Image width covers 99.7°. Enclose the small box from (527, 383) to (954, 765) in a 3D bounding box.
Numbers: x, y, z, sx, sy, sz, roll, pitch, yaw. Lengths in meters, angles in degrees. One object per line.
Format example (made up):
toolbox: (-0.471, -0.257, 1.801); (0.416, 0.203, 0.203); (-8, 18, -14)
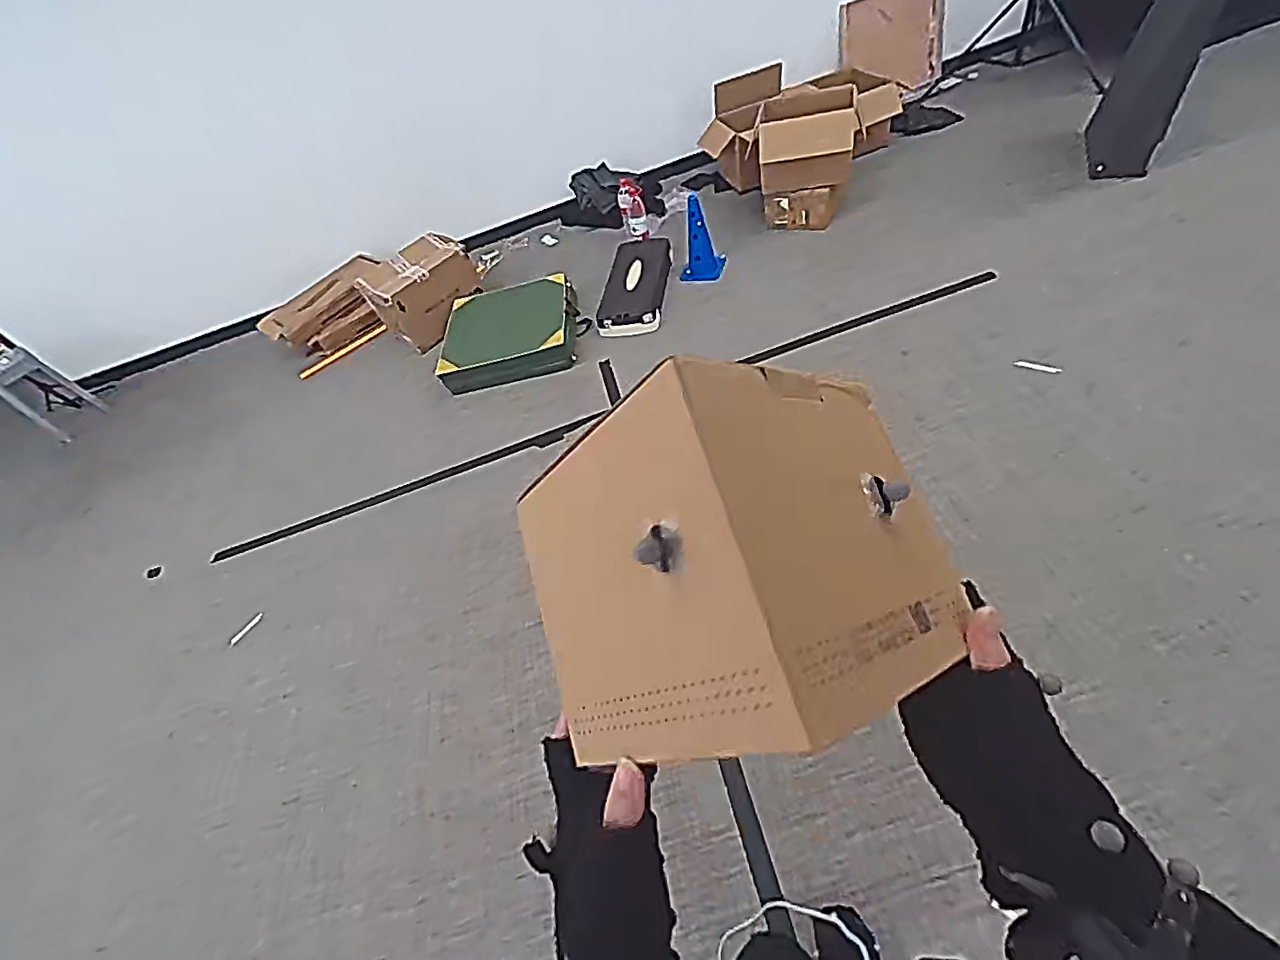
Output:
small box: (0.055, 0.061, 0.340); (0.168, 0.179, 0.176); (-2, 66, -40)
